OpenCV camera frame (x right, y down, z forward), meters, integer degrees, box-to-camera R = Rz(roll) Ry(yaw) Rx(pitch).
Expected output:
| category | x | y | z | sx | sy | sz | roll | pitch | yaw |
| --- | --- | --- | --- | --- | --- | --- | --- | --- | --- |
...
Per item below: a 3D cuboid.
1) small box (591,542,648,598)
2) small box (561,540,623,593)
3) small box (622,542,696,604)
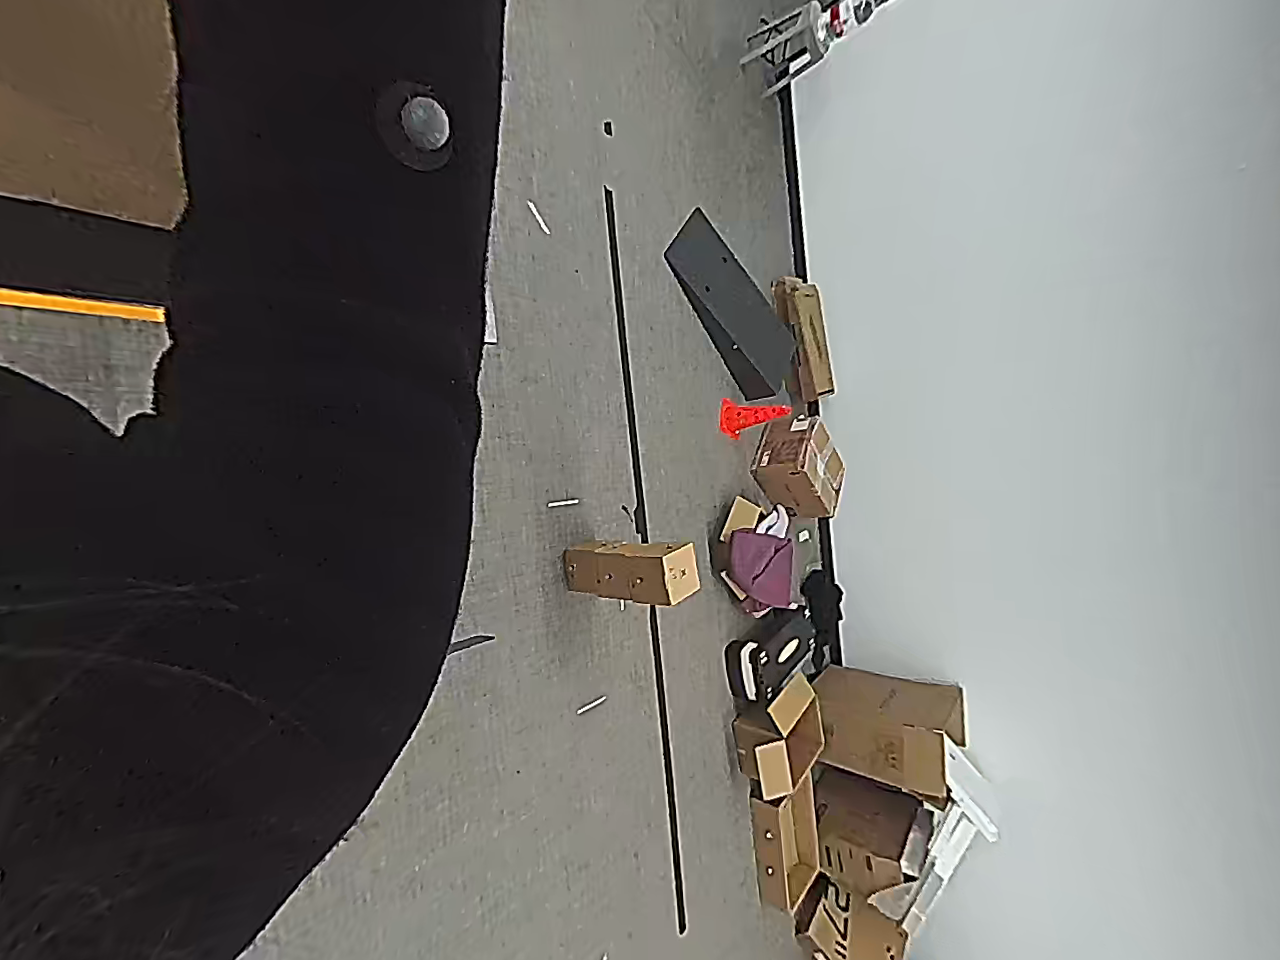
| category | x | y | z | sx | sy | sz | roll | pitch | yaw |
| --- | --- | --- | --- | --- | --- | --- | --- | --- | --- |
| small box | -0.061 | 0.321 | 1.941 | 0.179 | 0.176 | 0.168 | -9 | 93 | -49 |
| small box | -0.175 | 0.325 | 2.060 | 0.179 | 0.176 | 0.168 | -10 | 94 | -49 |
| small box | 0.065 | 0.309 | 1.833 | 0.179 | 0.176 | 0.168 | -17 | 98 | -49 |
